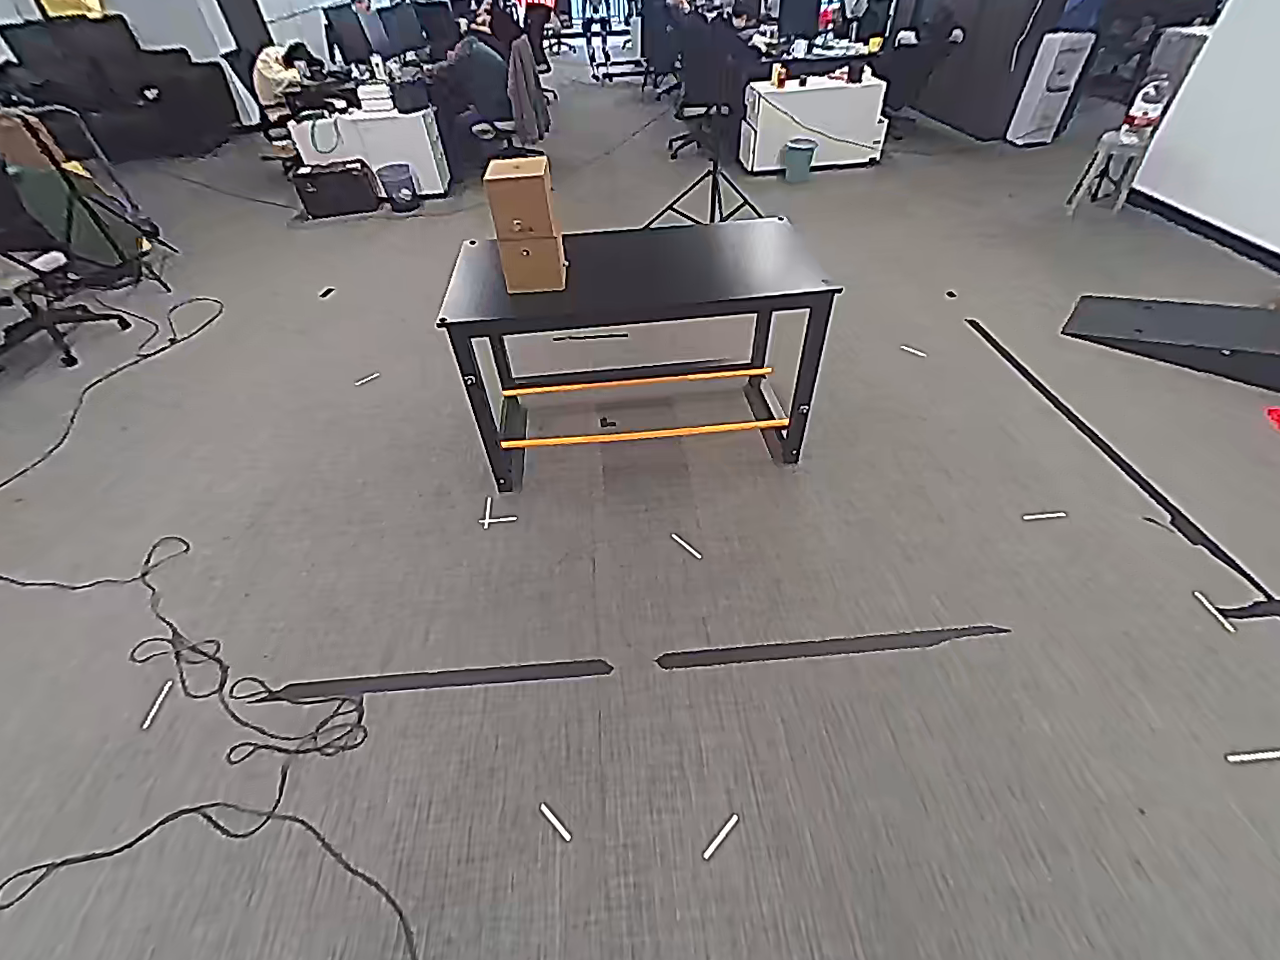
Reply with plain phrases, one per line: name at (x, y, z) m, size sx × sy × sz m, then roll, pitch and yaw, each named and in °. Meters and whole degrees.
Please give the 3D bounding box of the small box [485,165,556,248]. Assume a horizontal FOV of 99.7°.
small box at (-0.343, -0.800, 1.583) m, size 0.168 × 0.176 × 0.179 m, roll -6°, pitch 46°, yaw -1°

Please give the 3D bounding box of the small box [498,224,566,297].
small box at (-0.334, -0.686, 1.698) m, size 0.179 × 0.176 × 0.168 m, roll -4°, pitch 45°, yaw -2°
